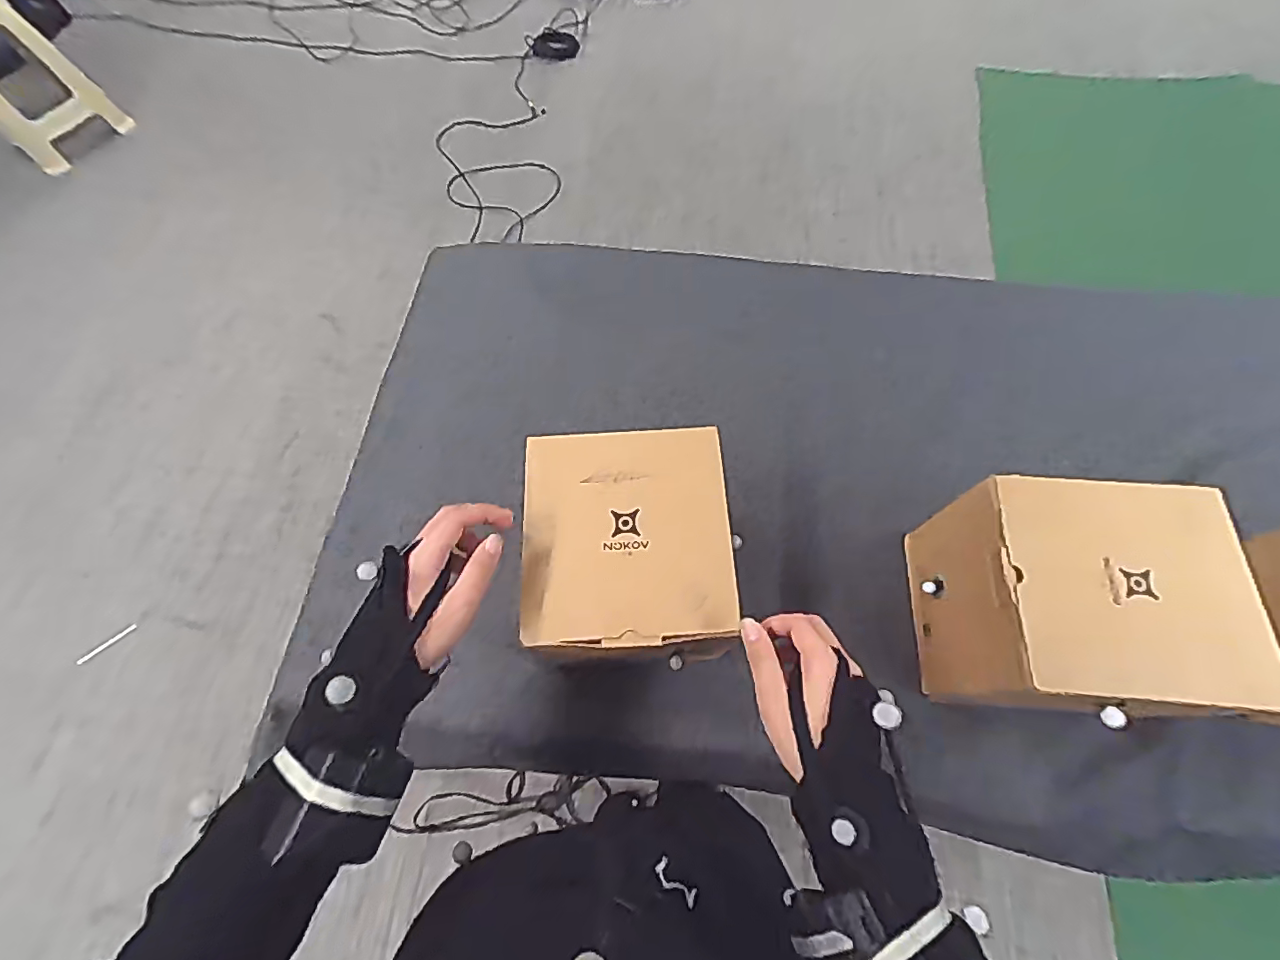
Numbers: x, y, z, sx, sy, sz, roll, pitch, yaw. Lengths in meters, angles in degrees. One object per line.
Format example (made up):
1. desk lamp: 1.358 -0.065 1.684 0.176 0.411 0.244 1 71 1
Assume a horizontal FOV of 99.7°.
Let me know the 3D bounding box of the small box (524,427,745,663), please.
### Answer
1. small box: -0.006 0.071 0.499 0.168 0.176 0.179 -3 65 -1

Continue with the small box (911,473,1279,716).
1. small box: 0.366 0.107 0.468 0.179 0.176 0.168 4 66 4
